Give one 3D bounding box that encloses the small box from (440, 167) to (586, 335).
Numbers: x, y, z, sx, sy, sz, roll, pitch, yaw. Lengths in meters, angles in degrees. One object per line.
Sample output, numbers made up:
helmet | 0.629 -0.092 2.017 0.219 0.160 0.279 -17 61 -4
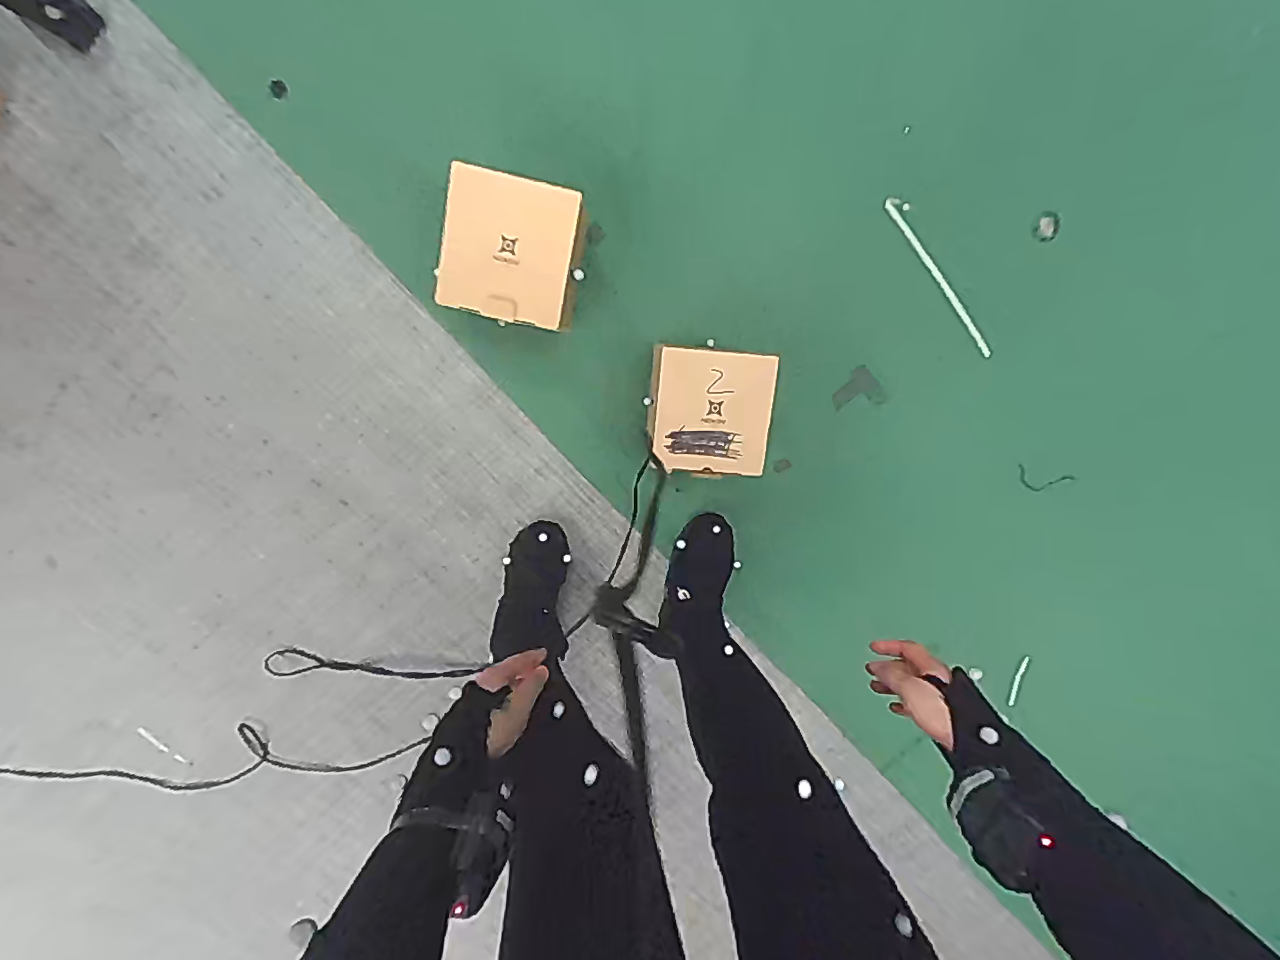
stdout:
small box | -0.173 -0.316 0.779 0.168 0.176 0.179 11 106 -6
